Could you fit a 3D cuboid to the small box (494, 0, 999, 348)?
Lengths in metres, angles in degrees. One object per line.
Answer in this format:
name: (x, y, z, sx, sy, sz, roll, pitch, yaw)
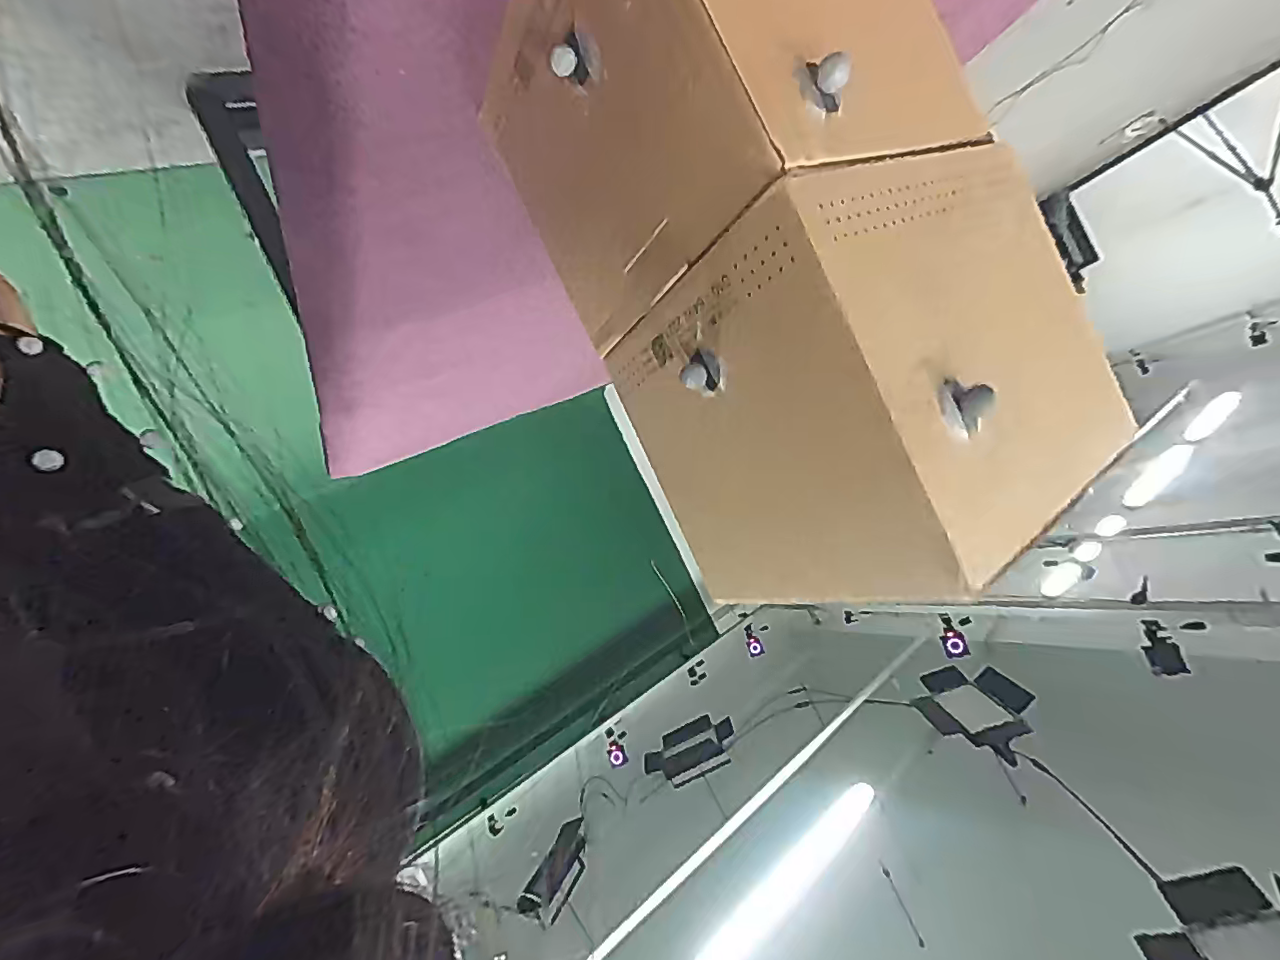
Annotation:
small box: (0.048, -0.202, 0.300, 0.179, 0.176, 0.168, -26, 180, -30)
